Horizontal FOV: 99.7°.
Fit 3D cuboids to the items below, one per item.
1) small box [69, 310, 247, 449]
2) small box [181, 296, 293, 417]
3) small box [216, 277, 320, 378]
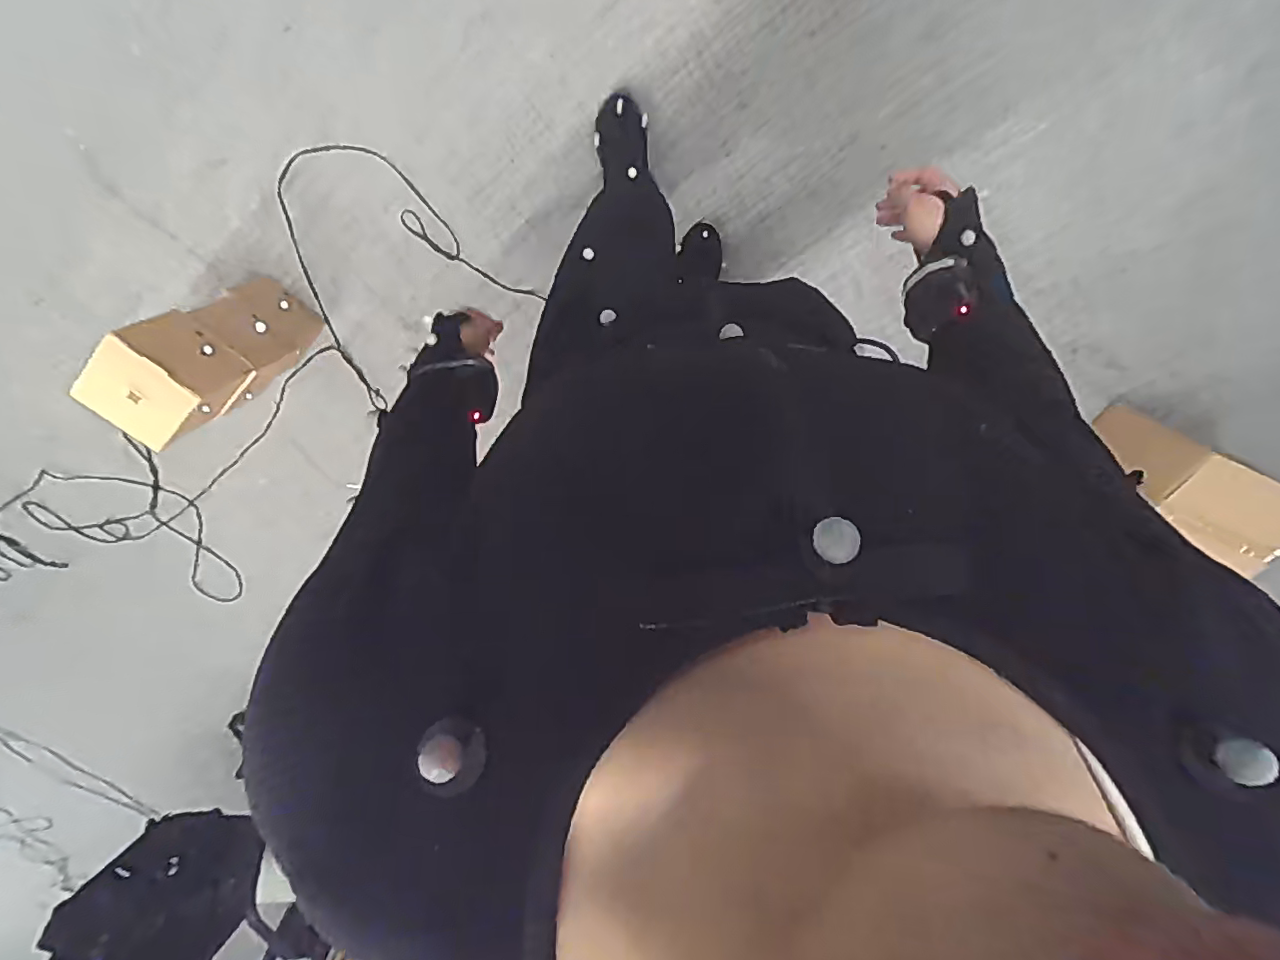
[{"bbox_3d":[-0.920,-0.198,1.050,0.179,0.176,0.168,-37,114,20],"label":"small box"},{"bbox_3d":[-0.917,-0.275,1.193,0.179,0.176,0.168,-36,115,20],"label":"small box"},{"bbox_3d":[-0.928,-0.370,1.327,0.179,0.176,0.168,-39,112,22],"label":"small box"}]
